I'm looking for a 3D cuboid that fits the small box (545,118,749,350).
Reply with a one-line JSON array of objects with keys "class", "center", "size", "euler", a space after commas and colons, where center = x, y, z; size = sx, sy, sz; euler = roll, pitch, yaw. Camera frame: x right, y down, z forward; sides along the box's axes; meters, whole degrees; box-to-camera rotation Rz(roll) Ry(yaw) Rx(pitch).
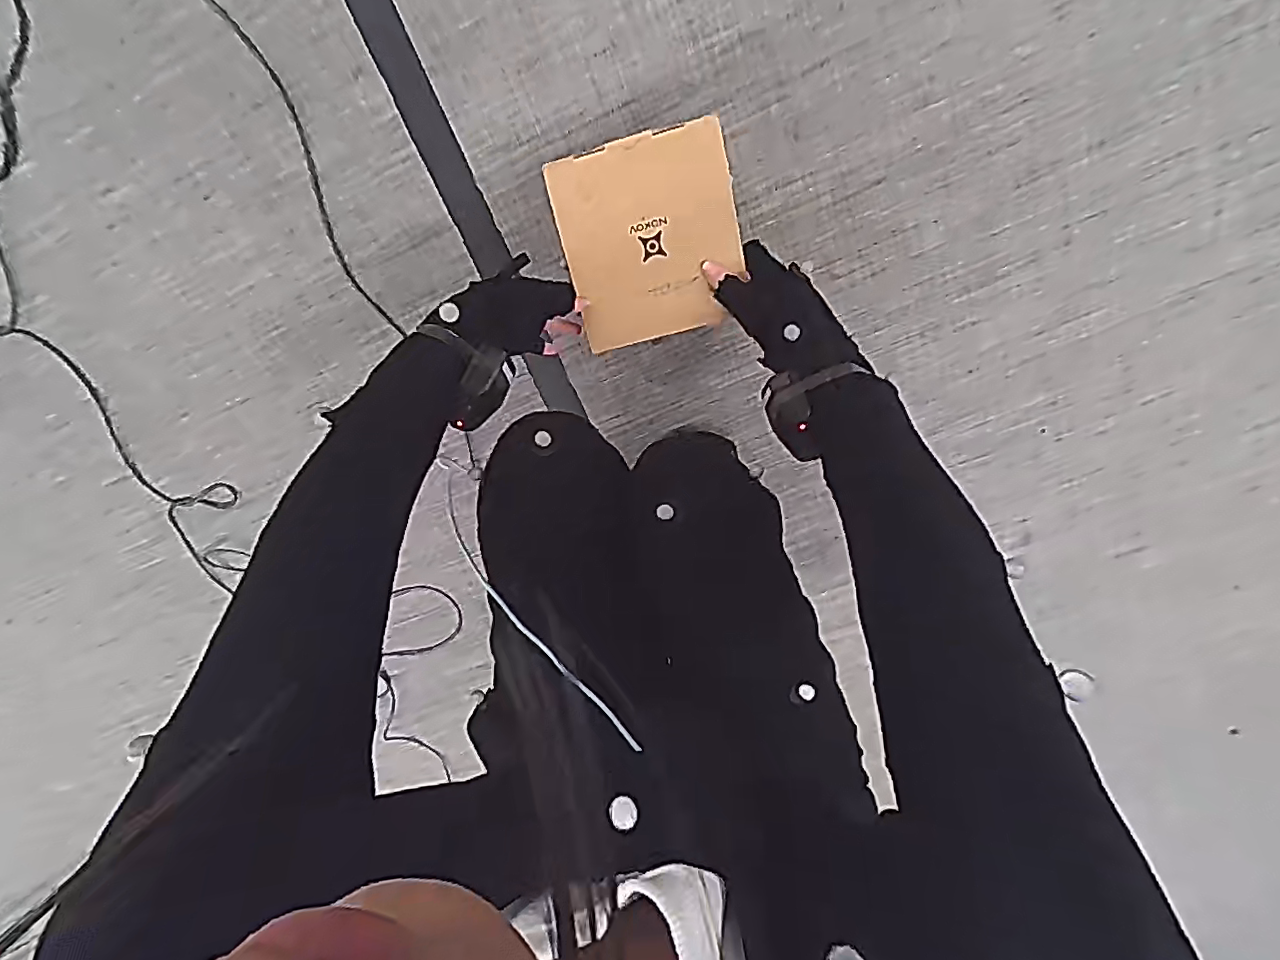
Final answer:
[{"class": "small box", "center": [0.010, -0.252, 0.588], "size": [0.168, 0.176, 0.179], "euler": [-13, 109, 6]}]
